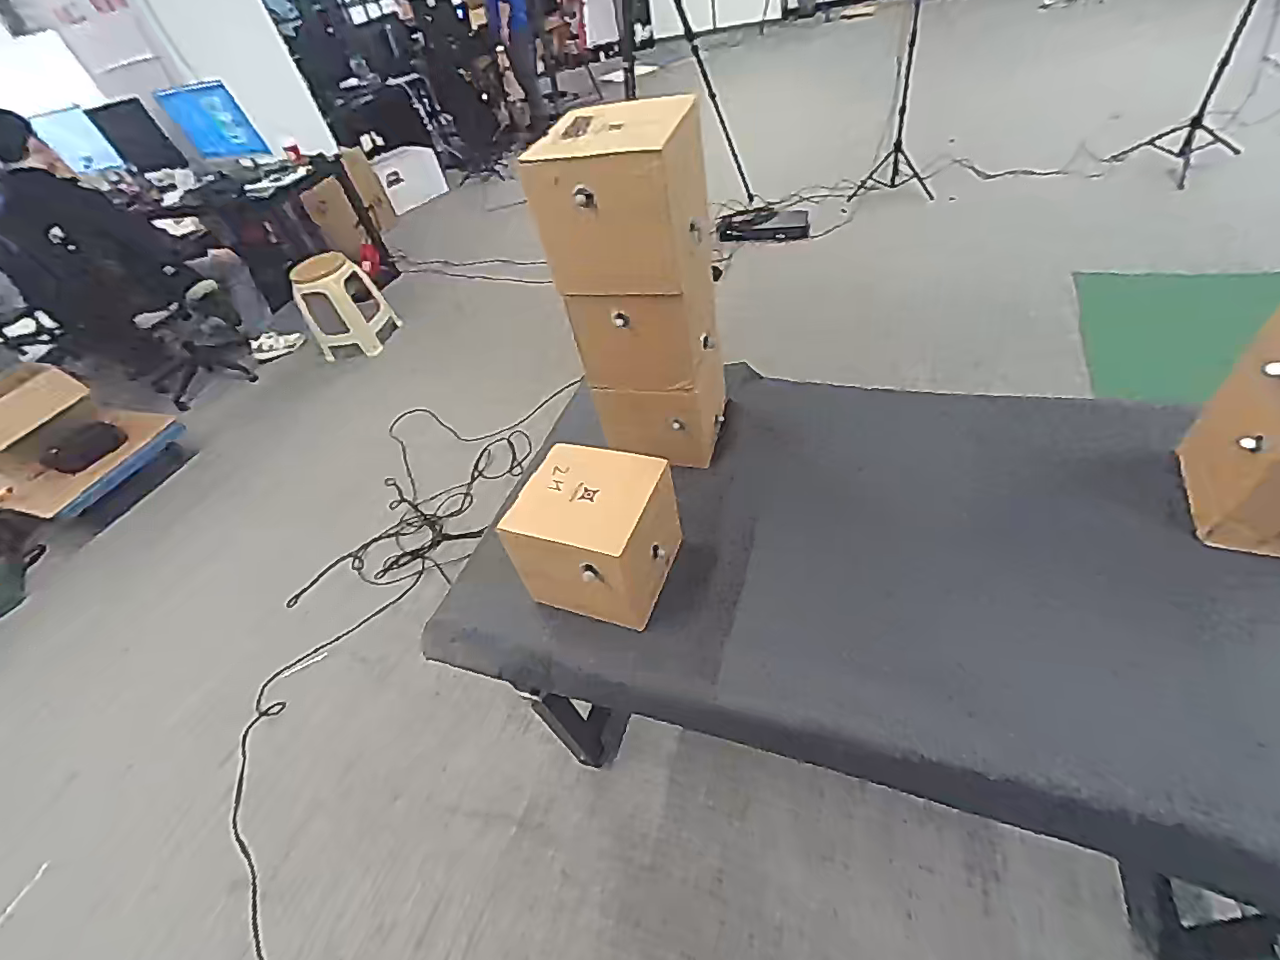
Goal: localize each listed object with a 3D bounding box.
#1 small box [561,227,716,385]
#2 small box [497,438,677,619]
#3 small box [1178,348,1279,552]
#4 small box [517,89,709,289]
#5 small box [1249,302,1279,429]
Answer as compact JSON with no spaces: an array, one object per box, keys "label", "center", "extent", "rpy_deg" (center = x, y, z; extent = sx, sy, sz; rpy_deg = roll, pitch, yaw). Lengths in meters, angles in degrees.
[{"label":"small box","center":[0.010,-0.257,0.806],"extent":[0.179,0.176,0.168],"rpy_deg":[6,52,17]},{"label":"small box","center":[-0.058,0.068,0.743],"extent":[0.179,0.176,0.168],"rpy_deg":[10,49,22]},{"label":"small box","center":[0.778,-0.029,0.626],"extent":[0.168,0.176,0.179],"rpy_deg":[10,53,23]},{"label":"small box","center":[-0.019,-0.357,0.678],"extent":[0.179,0.176,0.168],"rpy_deg":[8,53,19]},{"label":"small box","center":[0.742,-0.133,0.504],"extent":[0.168,0.176,0.179],"rpy_deg":[11,54,23]}]
